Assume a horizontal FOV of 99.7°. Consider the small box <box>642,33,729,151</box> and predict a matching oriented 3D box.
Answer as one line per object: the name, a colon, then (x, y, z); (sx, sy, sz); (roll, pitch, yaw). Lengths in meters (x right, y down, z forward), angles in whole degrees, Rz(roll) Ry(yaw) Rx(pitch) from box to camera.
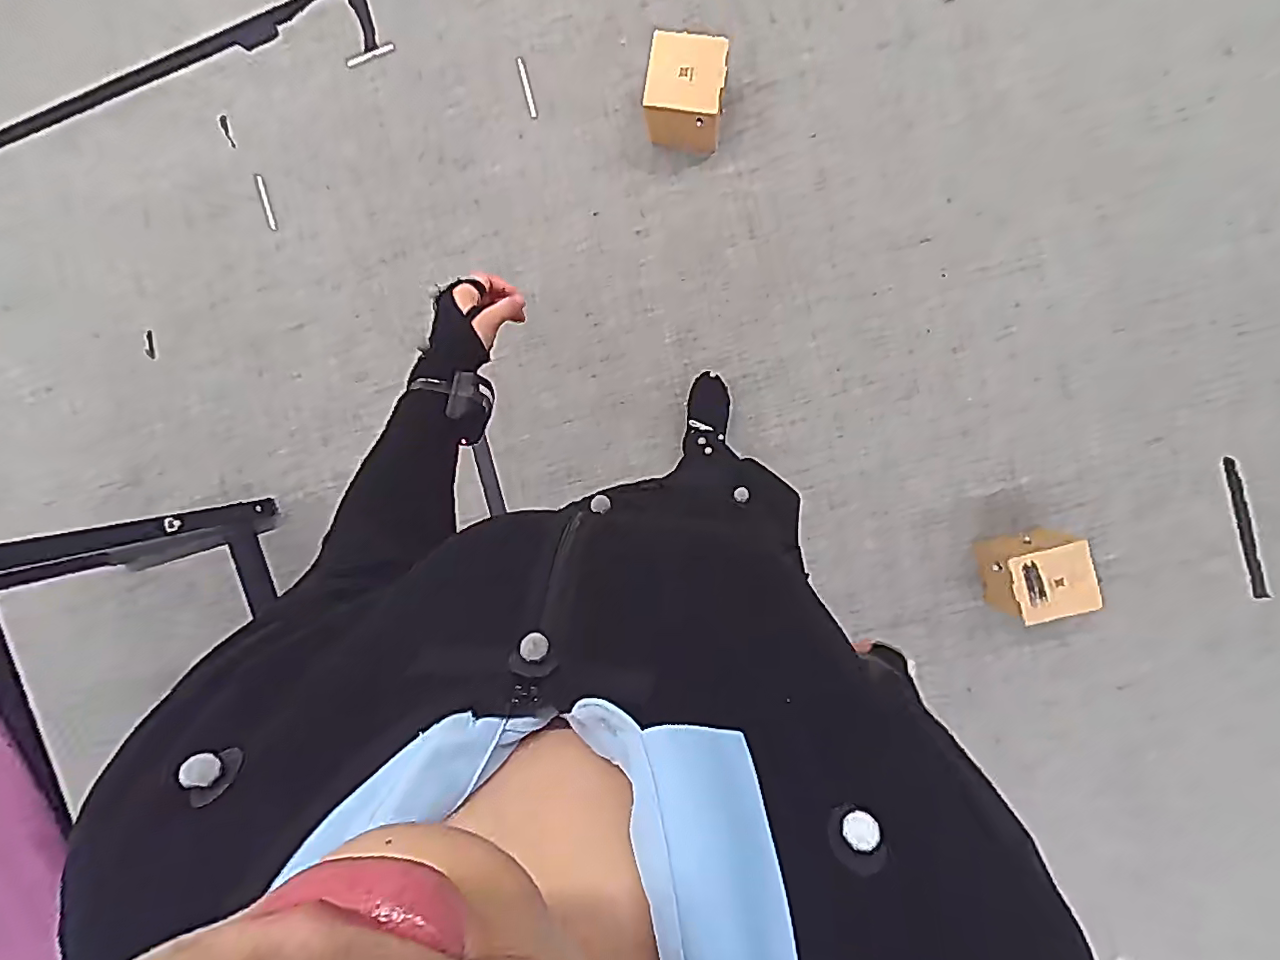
small box: (0.110, -0.926, 1.304); (0.179, 0.176, 0.168); (10, 96, 5)
